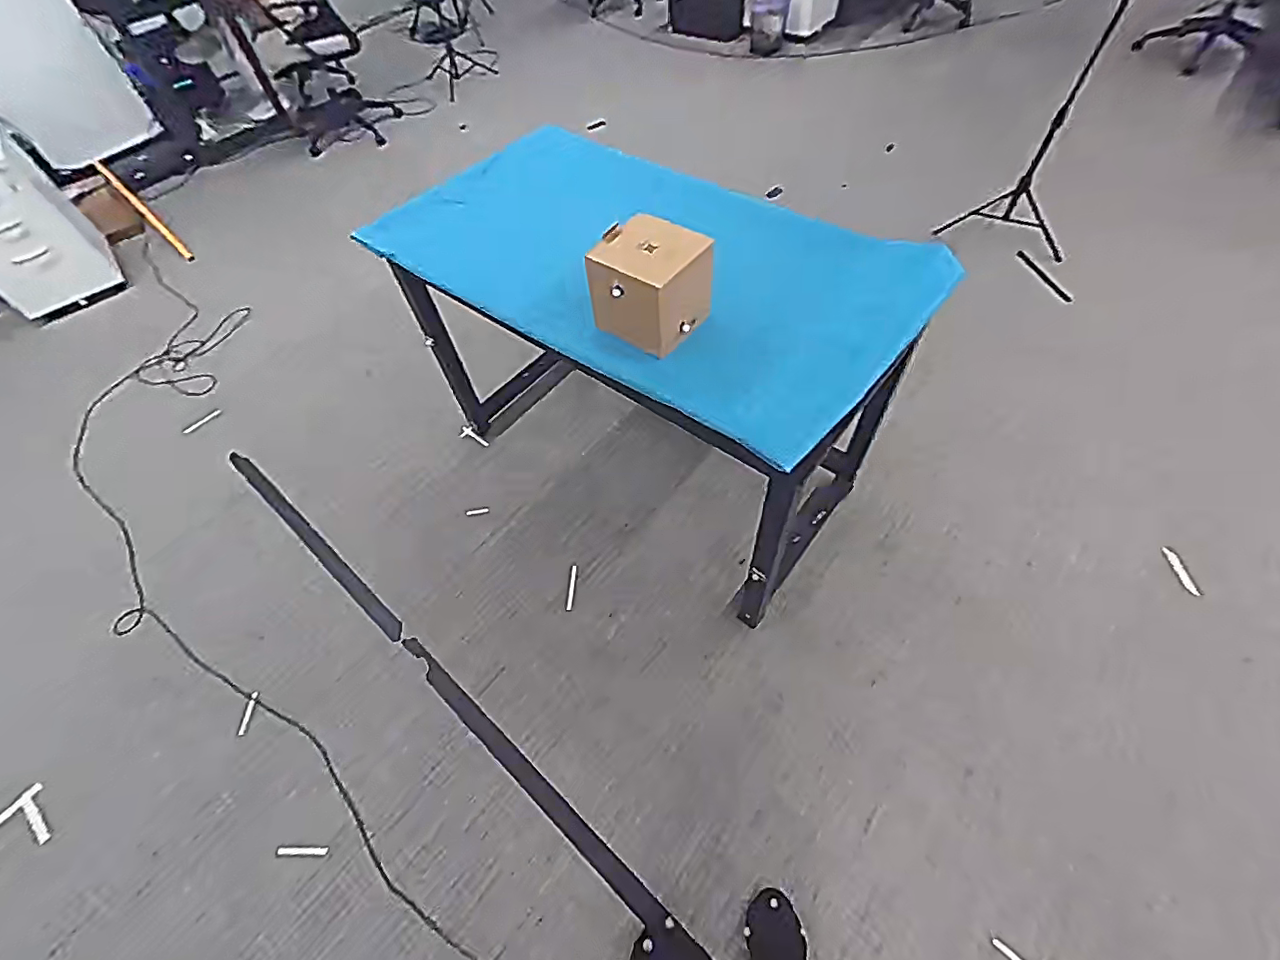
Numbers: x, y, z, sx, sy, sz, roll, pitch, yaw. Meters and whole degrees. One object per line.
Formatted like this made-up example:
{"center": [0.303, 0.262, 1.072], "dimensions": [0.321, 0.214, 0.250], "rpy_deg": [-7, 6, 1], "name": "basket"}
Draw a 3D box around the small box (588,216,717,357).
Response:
{"center": [0.027, -0.364, 1.029], "dimensions": [0.179, 0.176, 0.168], "rpy_deg": [32, 65, 24], "name": "small box"}
